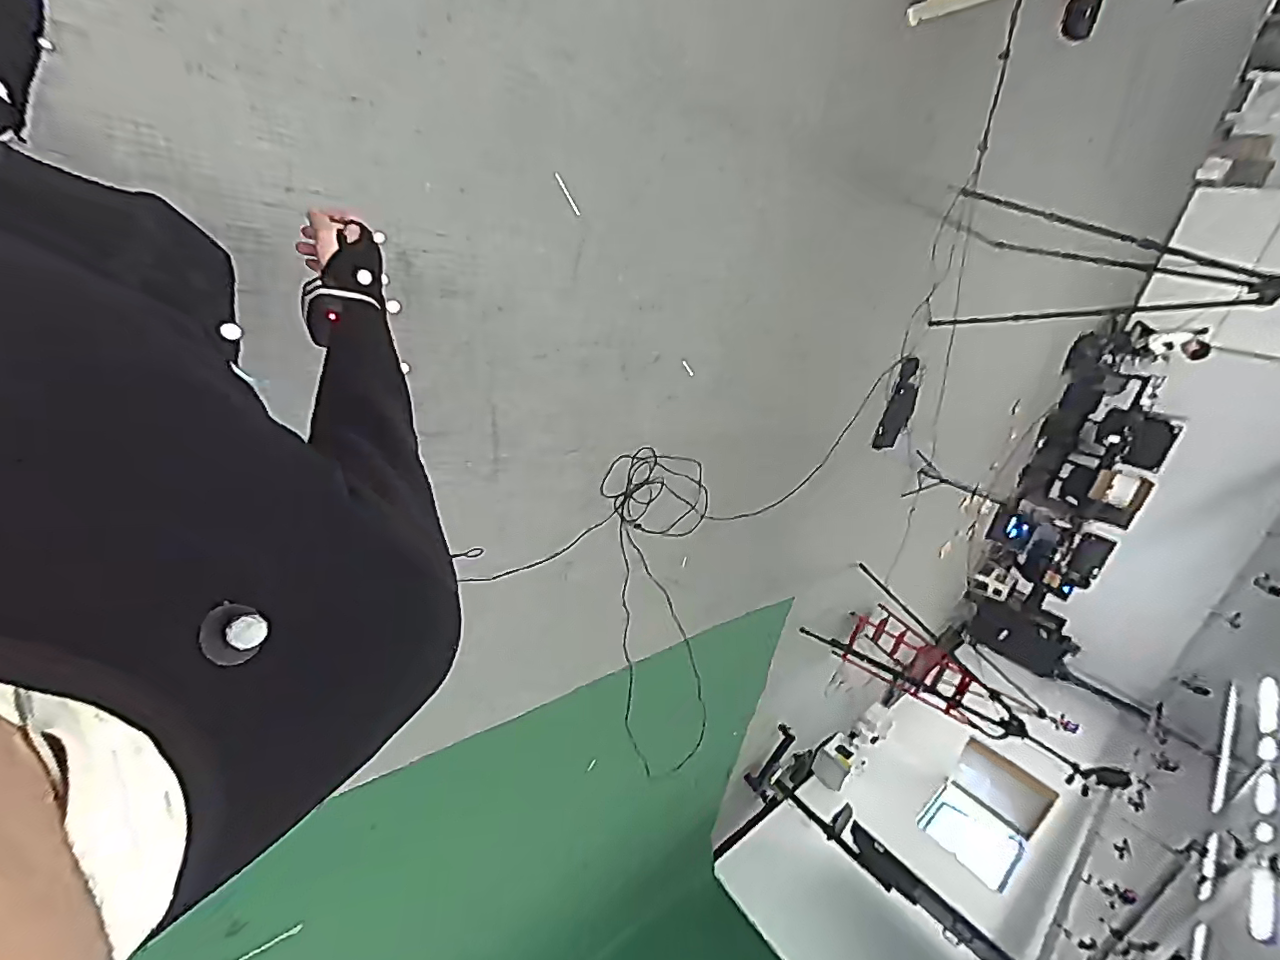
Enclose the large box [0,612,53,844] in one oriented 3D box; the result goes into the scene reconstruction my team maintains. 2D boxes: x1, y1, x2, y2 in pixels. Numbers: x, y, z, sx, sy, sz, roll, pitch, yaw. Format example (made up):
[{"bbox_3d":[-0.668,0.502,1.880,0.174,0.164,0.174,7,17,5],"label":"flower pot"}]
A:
[{"bbox_3d":[-1.314,0.446,0.941,0.320,0.320,0.408,-15,123,-38],"label":"large box"}]
